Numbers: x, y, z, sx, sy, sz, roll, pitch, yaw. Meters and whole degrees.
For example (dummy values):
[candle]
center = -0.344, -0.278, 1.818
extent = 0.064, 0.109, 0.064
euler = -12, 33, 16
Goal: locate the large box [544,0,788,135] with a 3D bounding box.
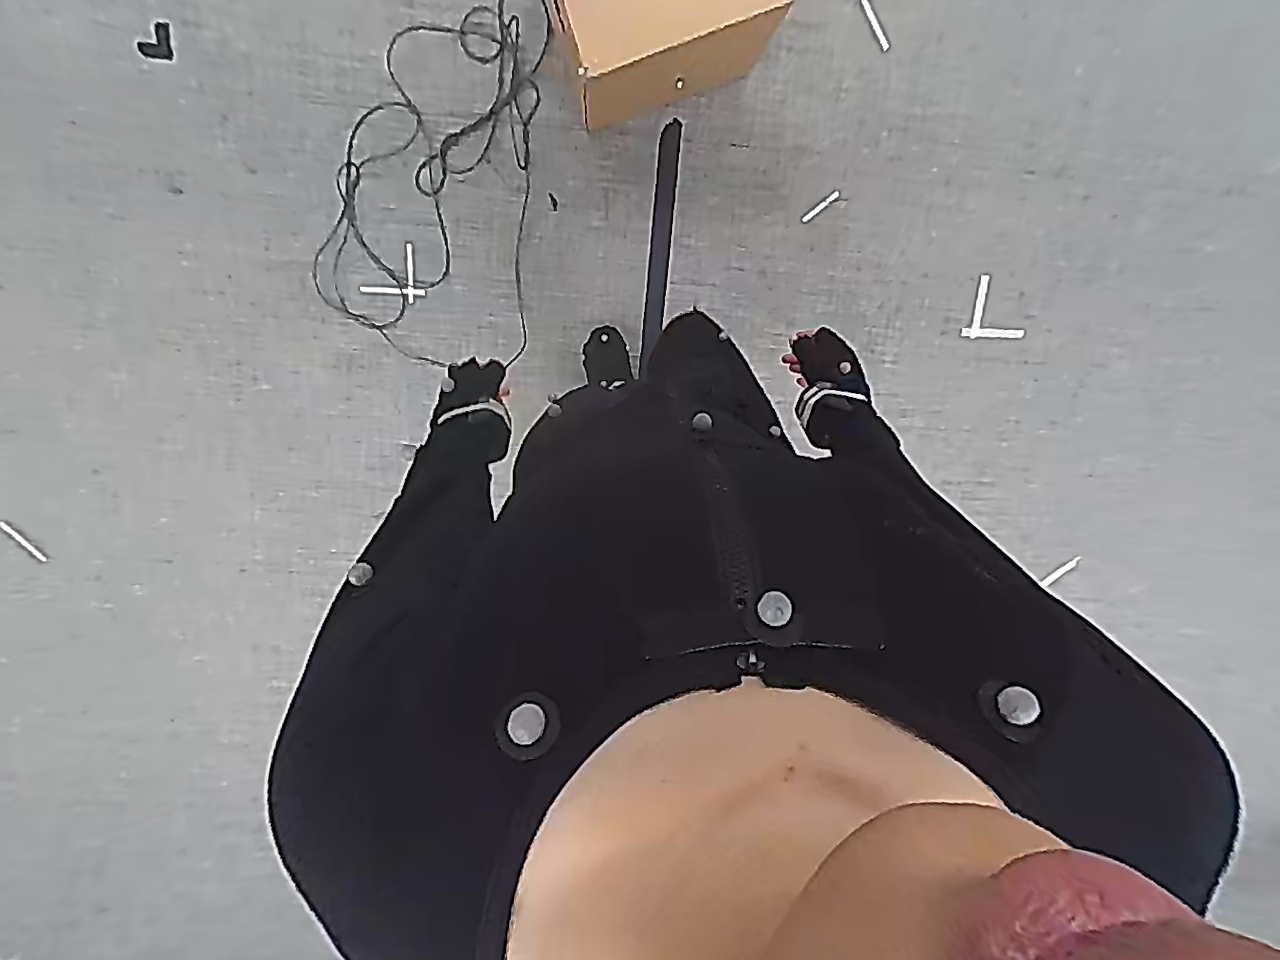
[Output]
[large box]
center = 0.027, -0.972, 1.087
extent = 0.408, 0.320, 0.320
euler = -20, 106, 2
